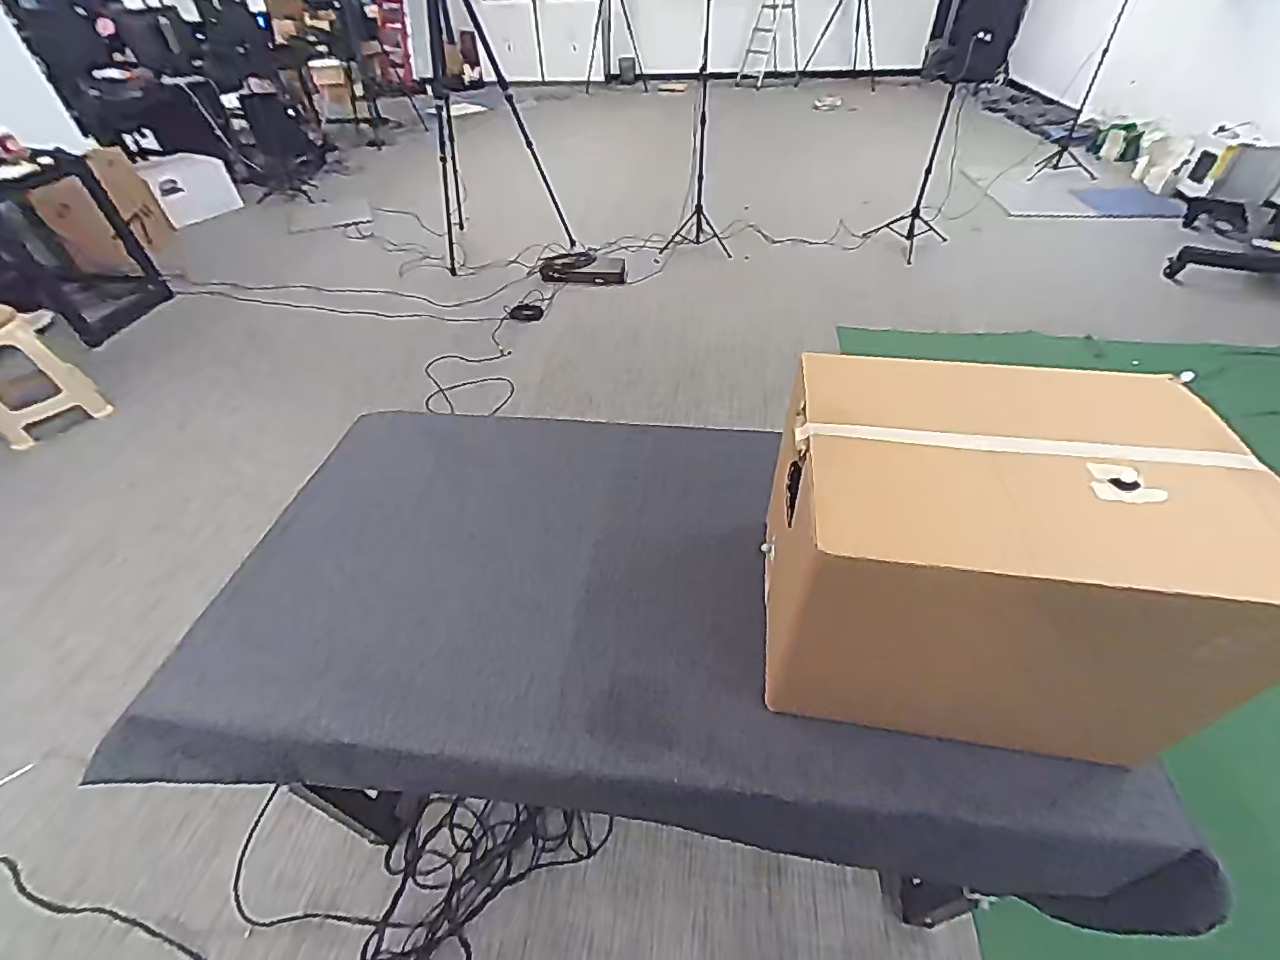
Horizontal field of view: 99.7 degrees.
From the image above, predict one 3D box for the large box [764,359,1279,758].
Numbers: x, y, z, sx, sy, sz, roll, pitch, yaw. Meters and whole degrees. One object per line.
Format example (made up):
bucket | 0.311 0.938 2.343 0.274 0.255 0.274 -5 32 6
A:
large box | 0.369 0.082 0.628 0.408 0.320 0.320 6 45 7
